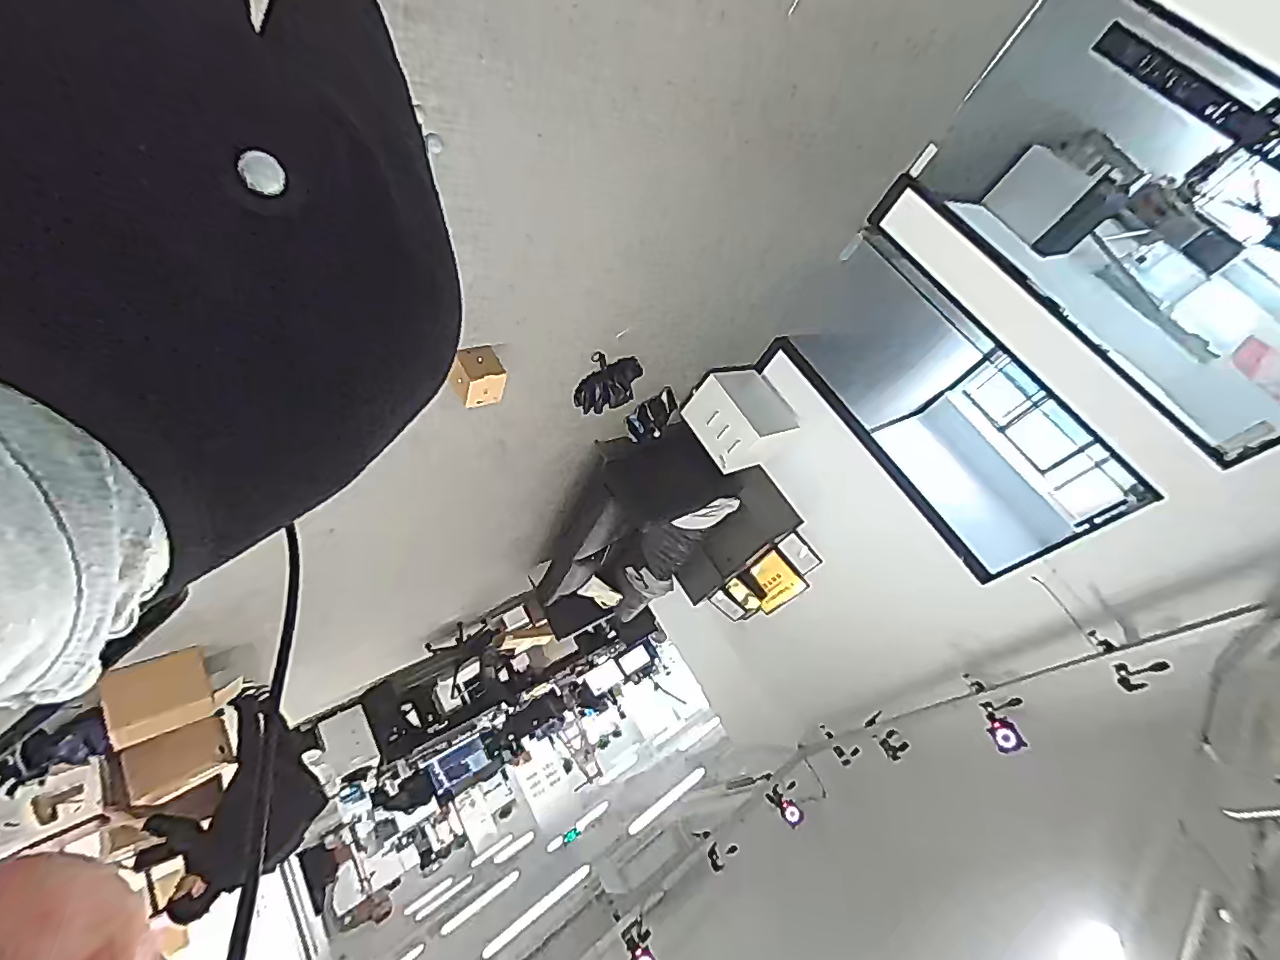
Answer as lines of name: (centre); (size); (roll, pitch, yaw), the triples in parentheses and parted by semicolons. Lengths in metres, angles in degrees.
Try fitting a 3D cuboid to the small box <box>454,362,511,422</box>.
small box: (-0.666, -0.377, 2.271); (0.168, 0.176, 0.179); (-20, 155, -35)
